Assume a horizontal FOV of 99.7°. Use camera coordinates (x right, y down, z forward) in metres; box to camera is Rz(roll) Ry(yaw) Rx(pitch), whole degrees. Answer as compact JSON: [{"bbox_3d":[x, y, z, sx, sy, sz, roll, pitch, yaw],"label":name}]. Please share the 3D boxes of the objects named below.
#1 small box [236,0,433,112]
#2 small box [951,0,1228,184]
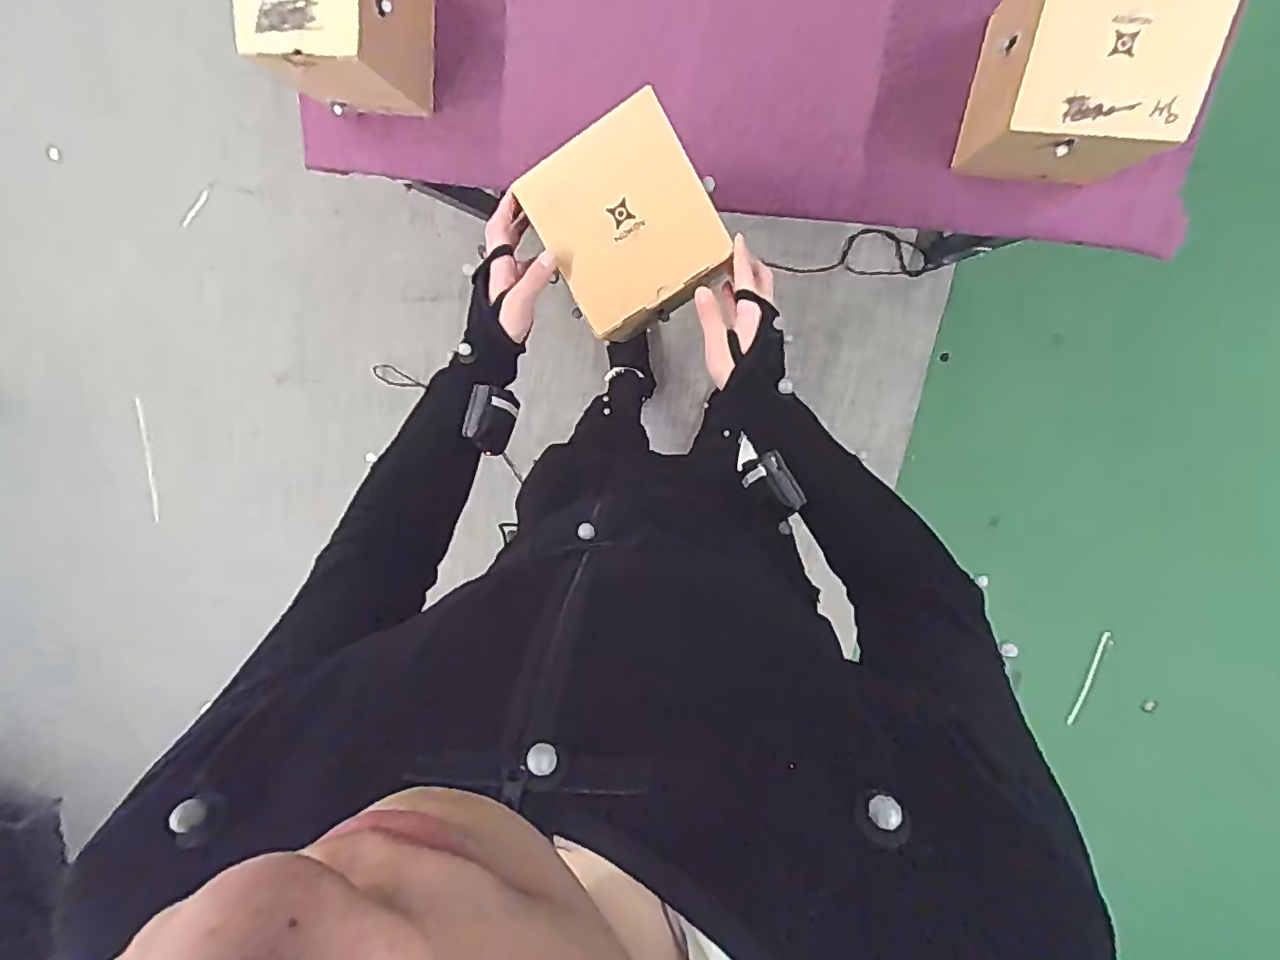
[{"bbox_3d":[-0.390,-0.615,0.712,0.168,0.176,0.179,9,105,8],"label":"small box"},{"bbox_3d":[0.470,-0.448,0.591,0.168,0.176,0.179,11,108,9],"label":"small box"}]
